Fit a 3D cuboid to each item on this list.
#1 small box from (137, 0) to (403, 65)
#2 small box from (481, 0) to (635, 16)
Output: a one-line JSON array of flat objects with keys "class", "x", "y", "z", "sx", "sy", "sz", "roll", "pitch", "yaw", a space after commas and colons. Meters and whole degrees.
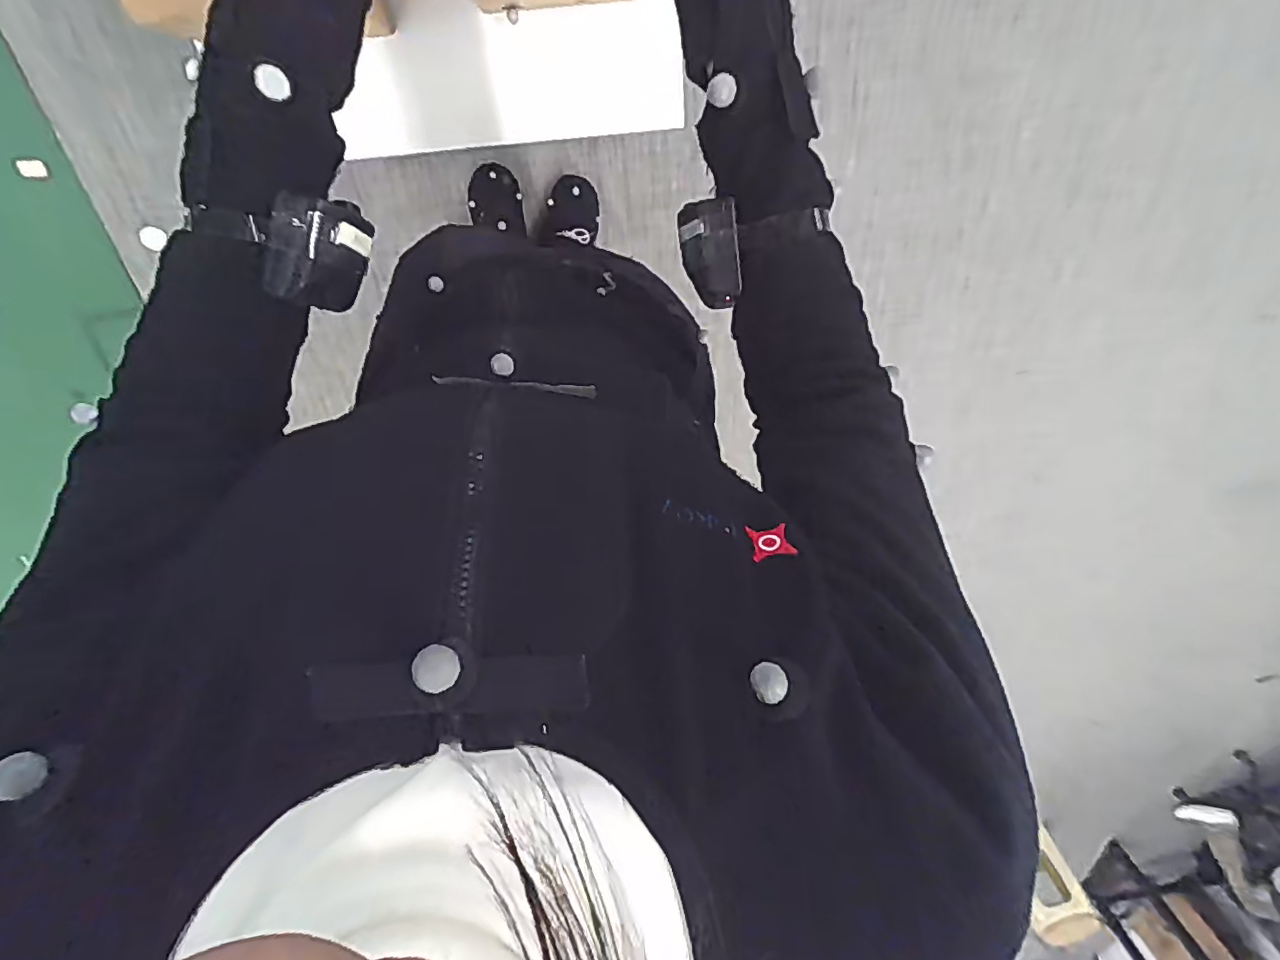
[{"class": "small box", "x": -0.331, "y": -0.484, "z": 0.463, "sx": 0.168, "sy": 0.176, "sz": 0.179, "roll": -9, "pitch": 123, "yaw": 0}, {"class": "small box", "x": -0.080, "y": -0.527, "z": 0.463, "sx": 0.168, "sy": 0.176, "sz": 0.179, "roll": -8, "pitch": 121, "yaw": -1}]
